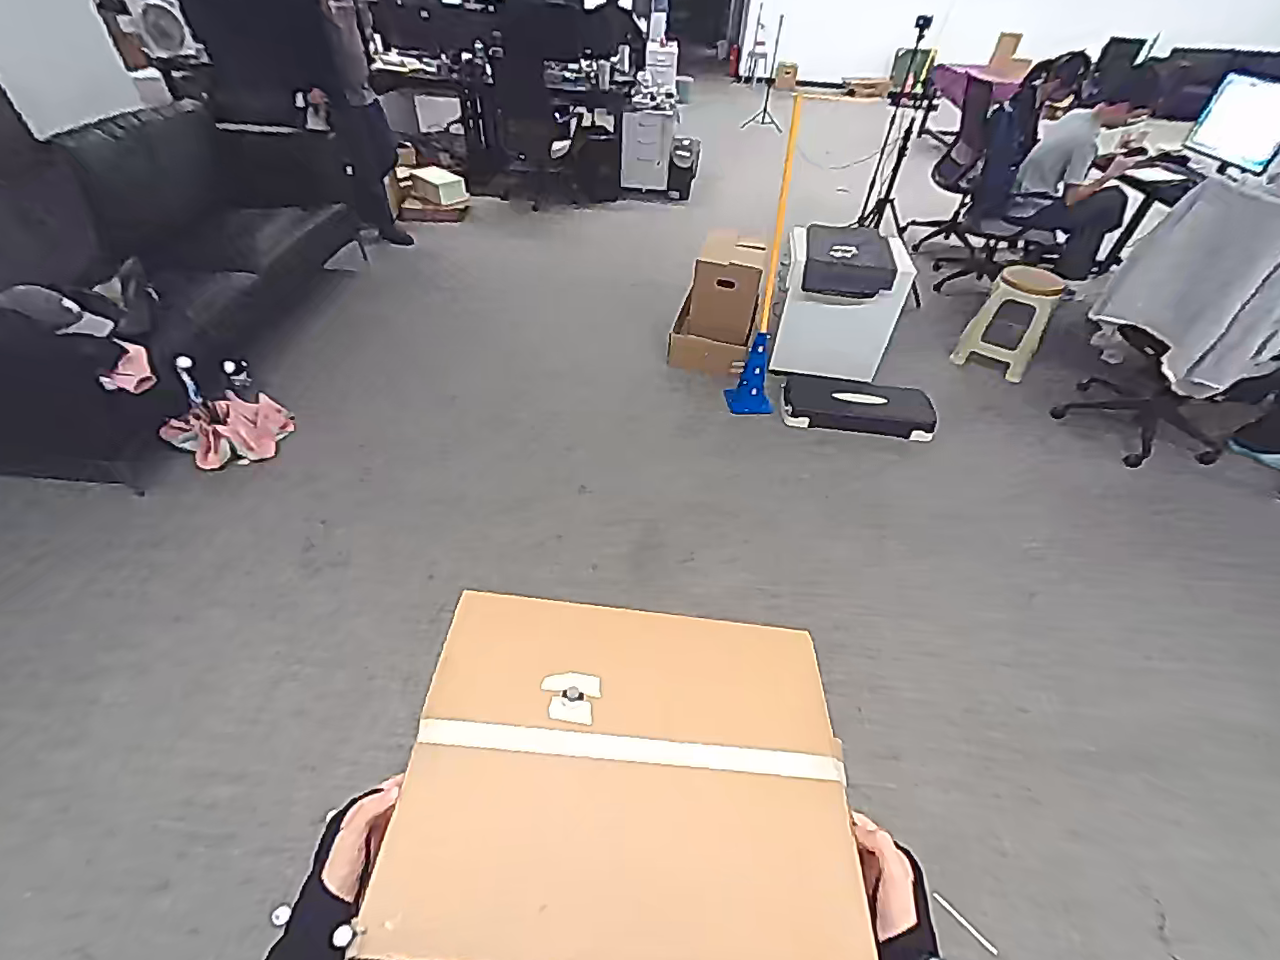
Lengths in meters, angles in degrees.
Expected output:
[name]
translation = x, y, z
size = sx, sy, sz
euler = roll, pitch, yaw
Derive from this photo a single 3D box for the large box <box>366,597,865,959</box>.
[large box]
translation = -0.025, 0.366, 0.631
size = 0.408, 0.320, 0.320
euler = 7, 44, -4
